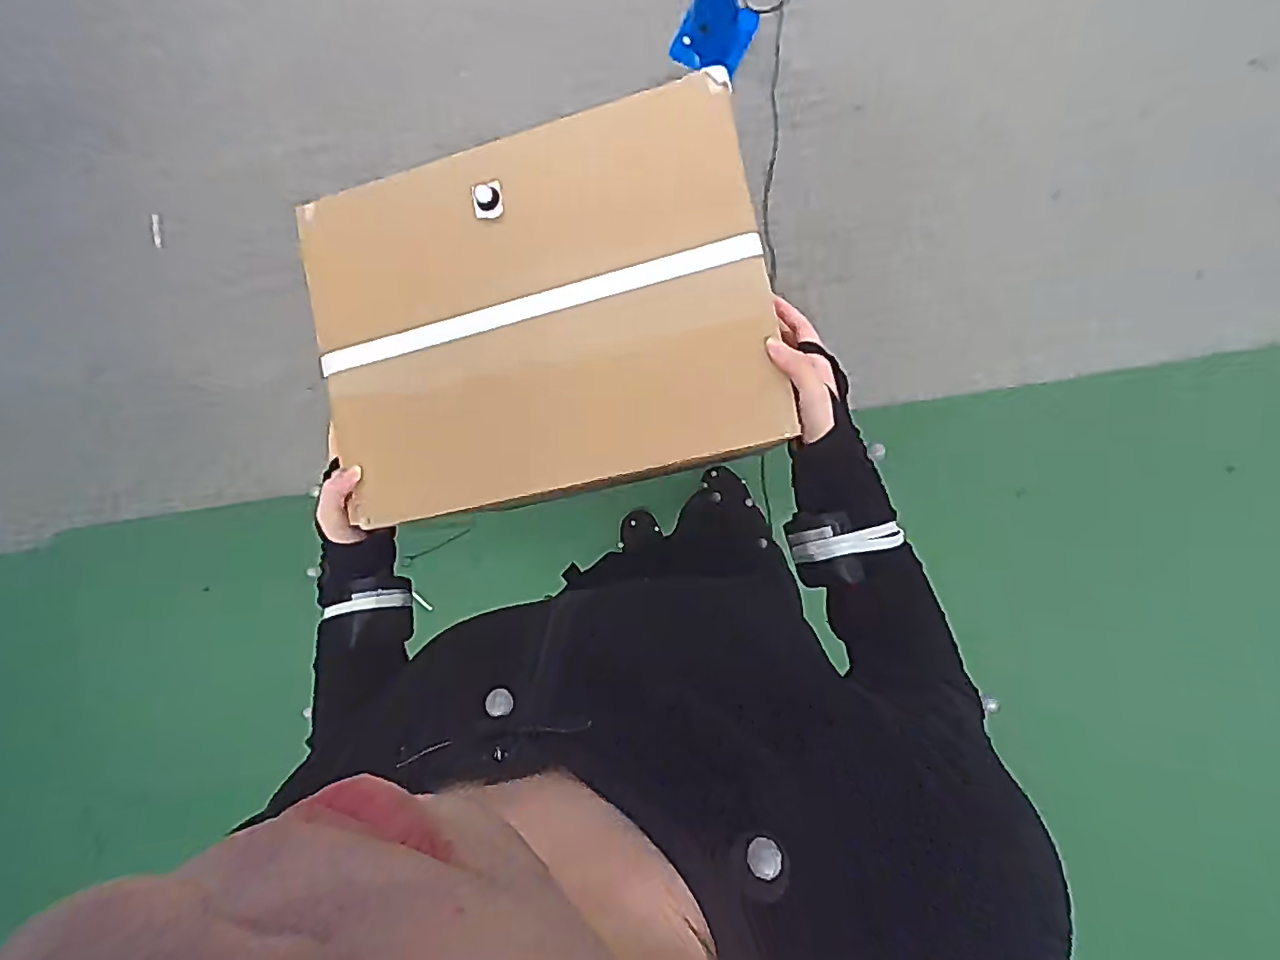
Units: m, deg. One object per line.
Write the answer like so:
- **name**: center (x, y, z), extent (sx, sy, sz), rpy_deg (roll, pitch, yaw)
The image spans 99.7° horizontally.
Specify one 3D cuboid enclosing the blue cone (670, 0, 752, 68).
- **blue cone**: center (0.175, -1.230, 1.310), extent (0.192, 0.380, 0.193), rpy_deg (25, 93, 6)
